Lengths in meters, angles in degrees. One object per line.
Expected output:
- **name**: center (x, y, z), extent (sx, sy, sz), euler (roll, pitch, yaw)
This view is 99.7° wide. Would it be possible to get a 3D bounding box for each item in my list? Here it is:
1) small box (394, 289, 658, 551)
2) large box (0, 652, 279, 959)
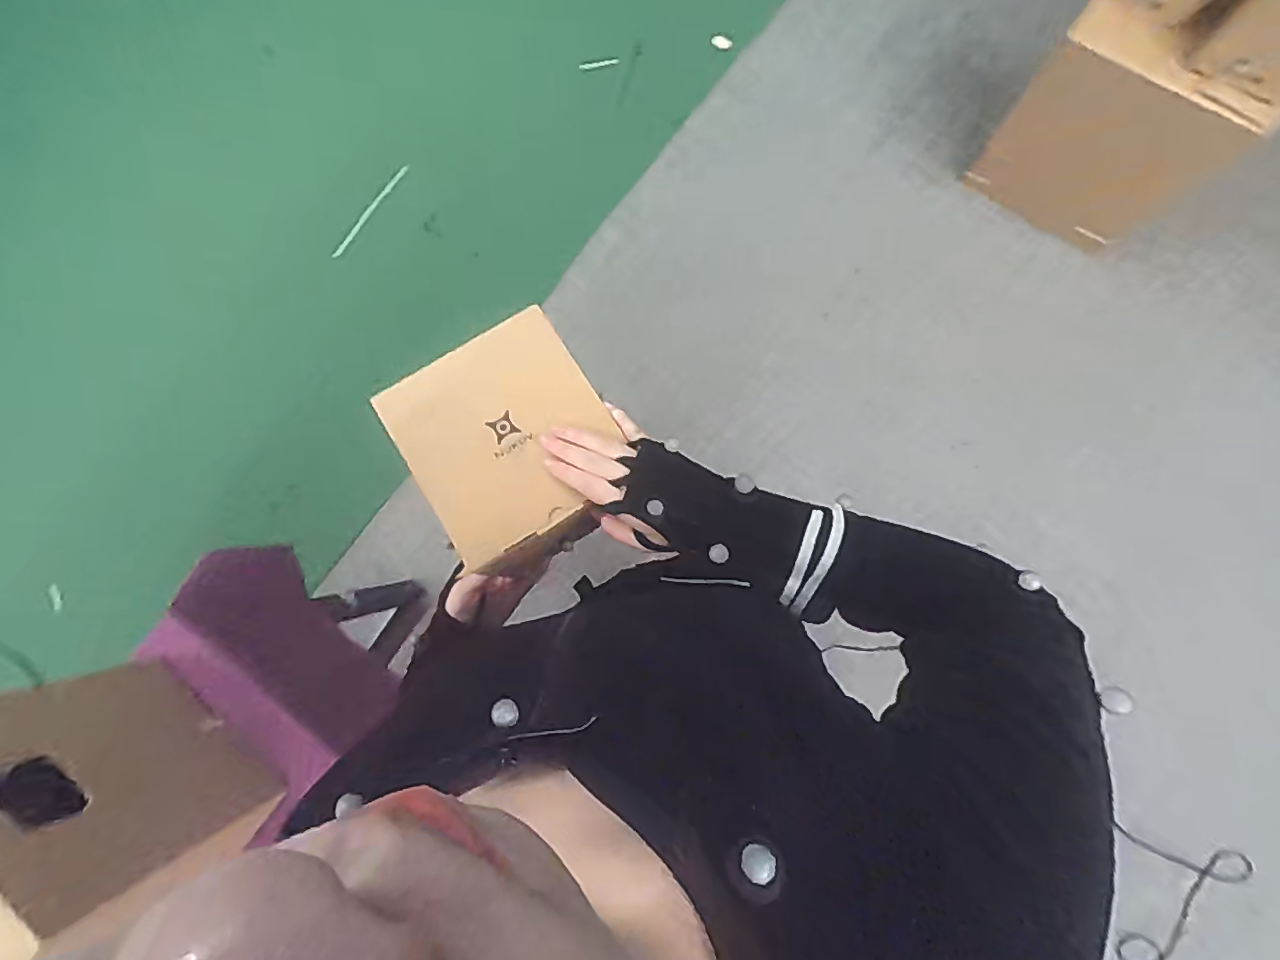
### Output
- **small box**: center (-0.101, -0.044, 0.532), extent (0.168, 0.176, 0.179), euler (-31, 83, -7)
- **large box**: center (-0.789, 0.498, 0.687), extent (0.320, 0.320, 0.408), euler (38, 89, 8)
